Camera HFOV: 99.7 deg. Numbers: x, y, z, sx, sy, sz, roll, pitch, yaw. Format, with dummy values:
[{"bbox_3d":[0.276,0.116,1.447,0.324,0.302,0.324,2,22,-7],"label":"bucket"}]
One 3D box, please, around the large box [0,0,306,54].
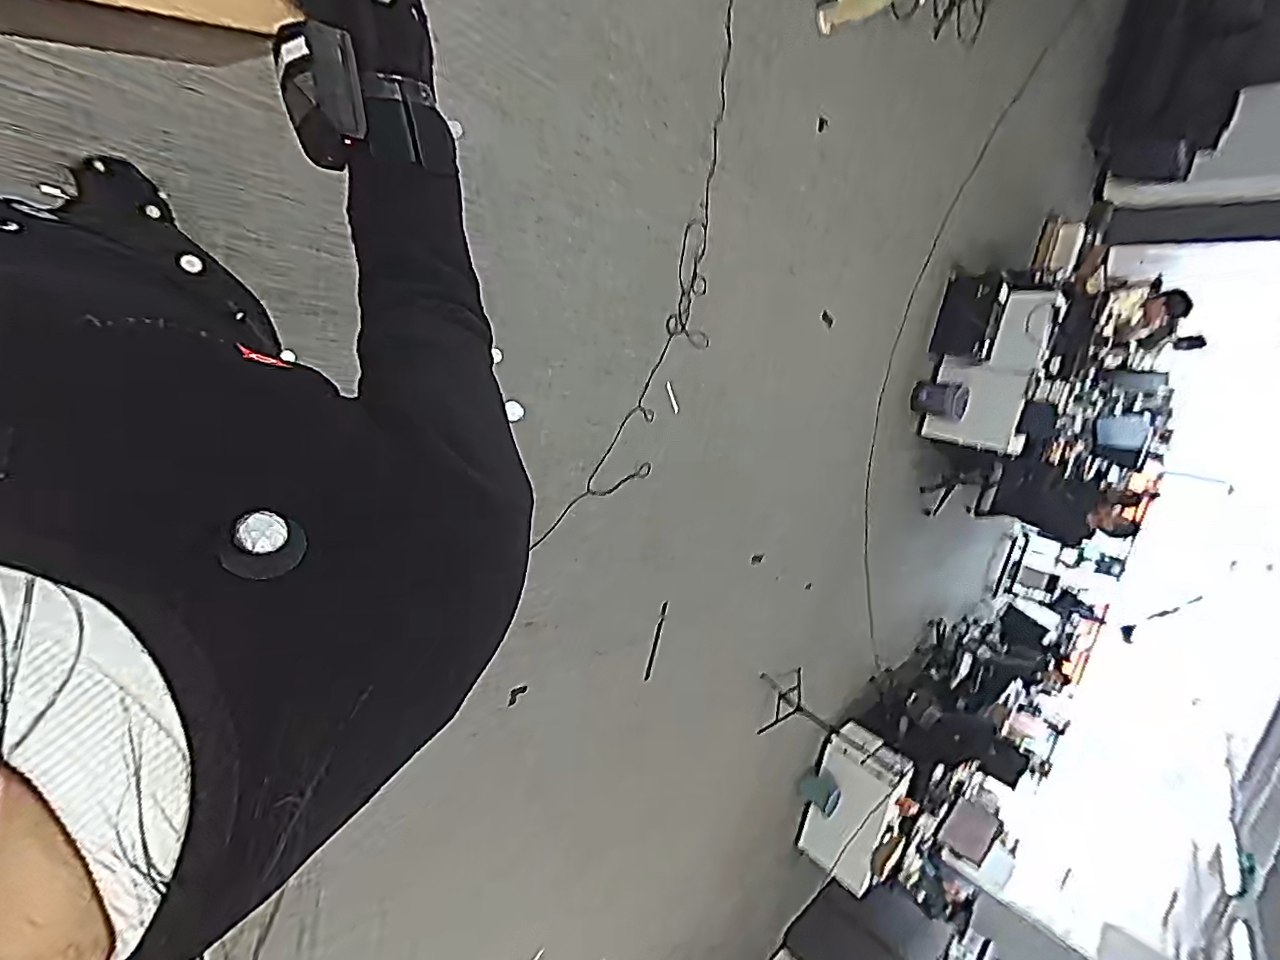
[{"bbox_3d":[-0.450,-0.420,0.240,0.408,0.320,0.320,-22,131,-38],"label":"large box"}]
